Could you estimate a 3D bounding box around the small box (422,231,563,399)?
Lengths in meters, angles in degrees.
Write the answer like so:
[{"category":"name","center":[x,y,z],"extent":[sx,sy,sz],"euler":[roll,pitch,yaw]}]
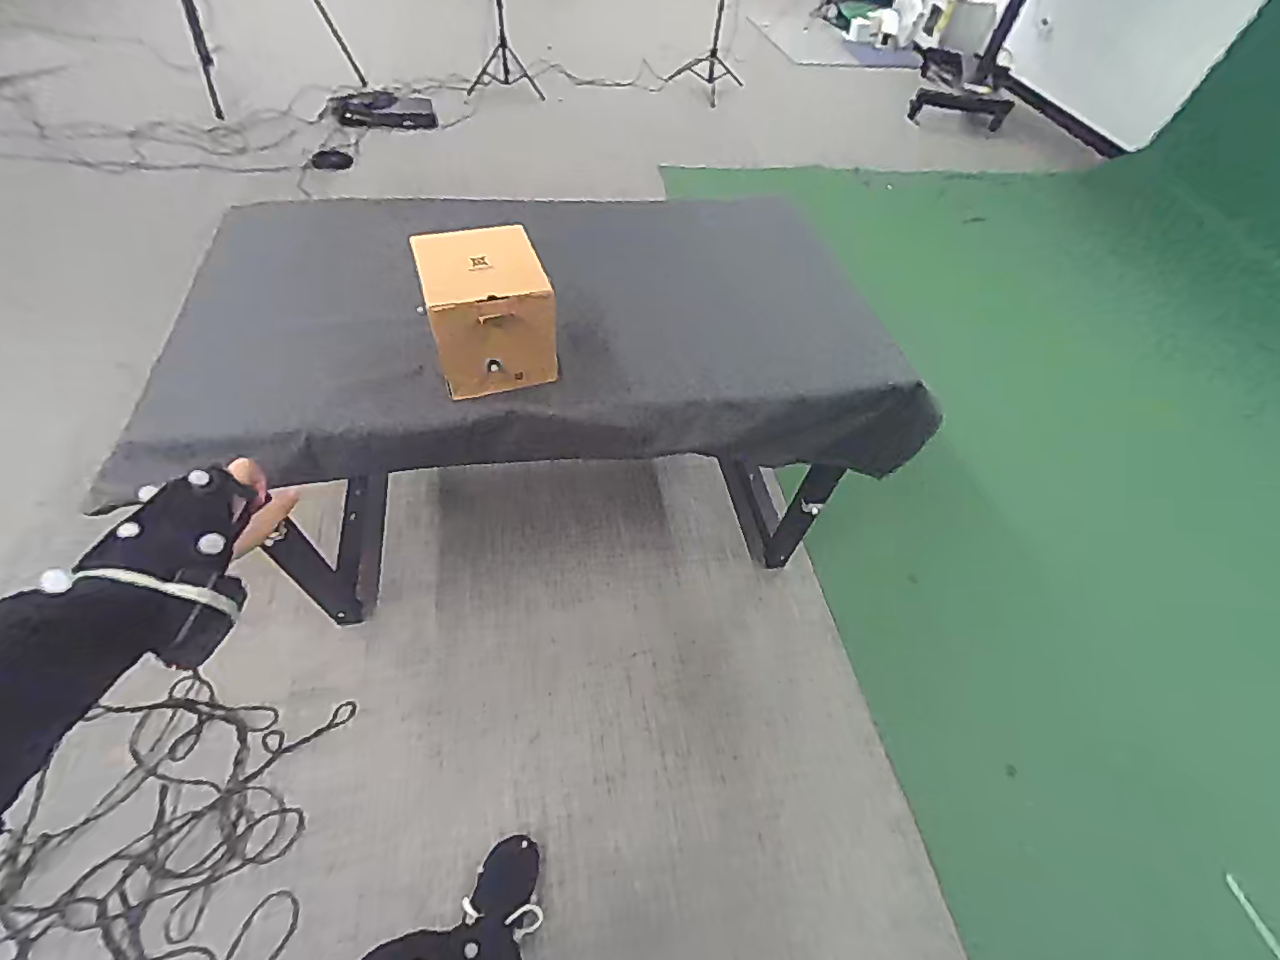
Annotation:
[{"category":"small box","center":[-0.220,-0.251,0.823],"extent":[0.168,0.176,0.179],"euler":[-14,57,-17]}]
